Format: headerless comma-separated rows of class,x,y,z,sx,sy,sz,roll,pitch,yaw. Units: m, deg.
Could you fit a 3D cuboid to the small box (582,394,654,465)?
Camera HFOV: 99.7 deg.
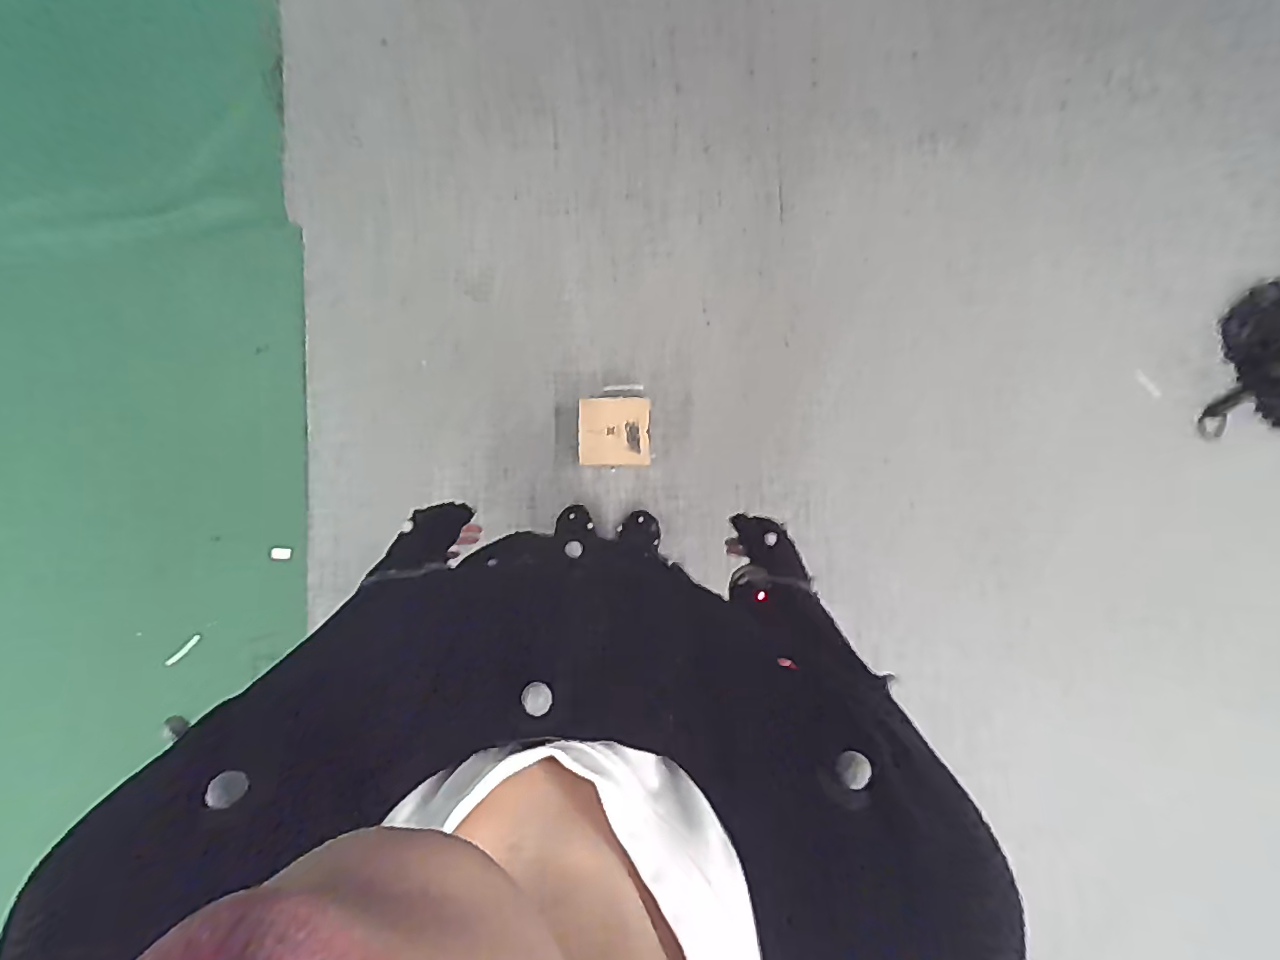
small box,-0.052,-0.127,1.401,0.179,0.176,0.168,0,88,2
